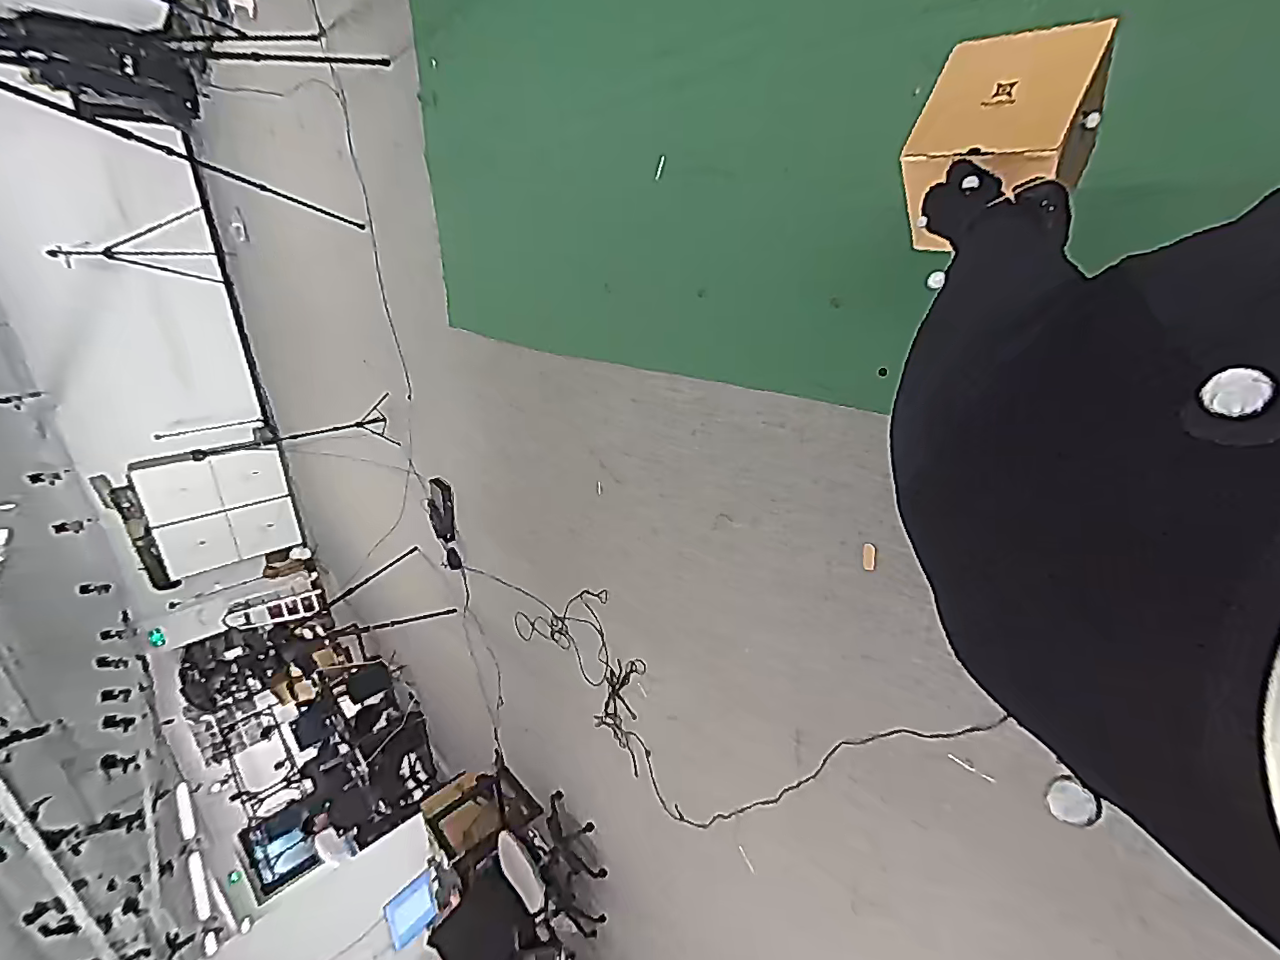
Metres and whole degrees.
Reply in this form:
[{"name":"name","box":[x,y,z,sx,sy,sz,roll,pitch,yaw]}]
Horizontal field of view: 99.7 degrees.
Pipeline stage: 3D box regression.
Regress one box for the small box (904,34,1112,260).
[{"name":"small box","box":[0.469,-0.420,0.706,0.168,0.176,0.179,23,82,38]}]
